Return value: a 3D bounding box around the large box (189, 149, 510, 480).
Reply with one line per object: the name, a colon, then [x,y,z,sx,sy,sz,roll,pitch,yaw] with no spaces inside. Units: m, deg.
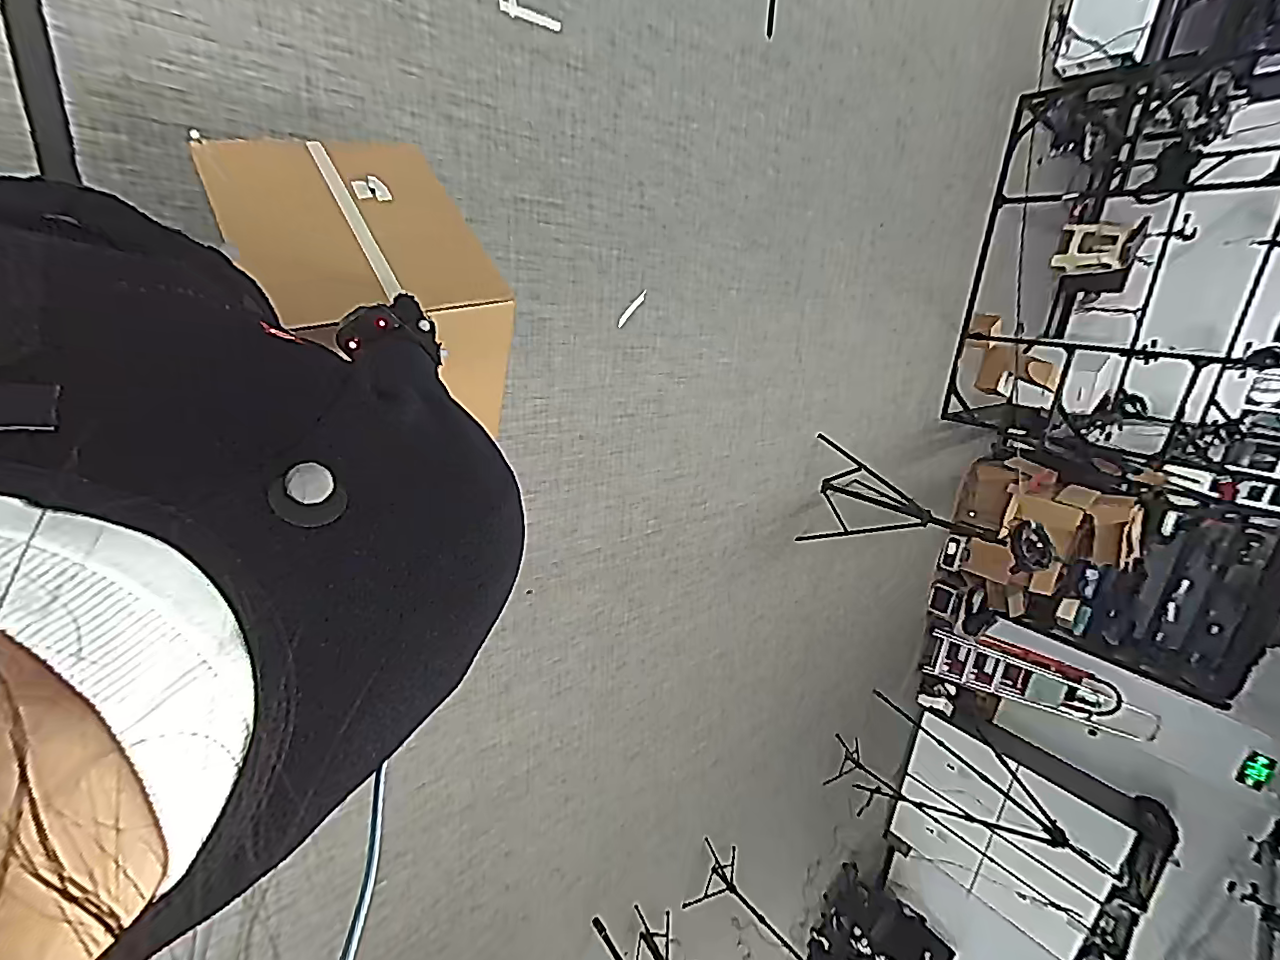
large box: [-0.453,-0.275,0.887,0.320,0.408,0.320,-21,154,-32]
